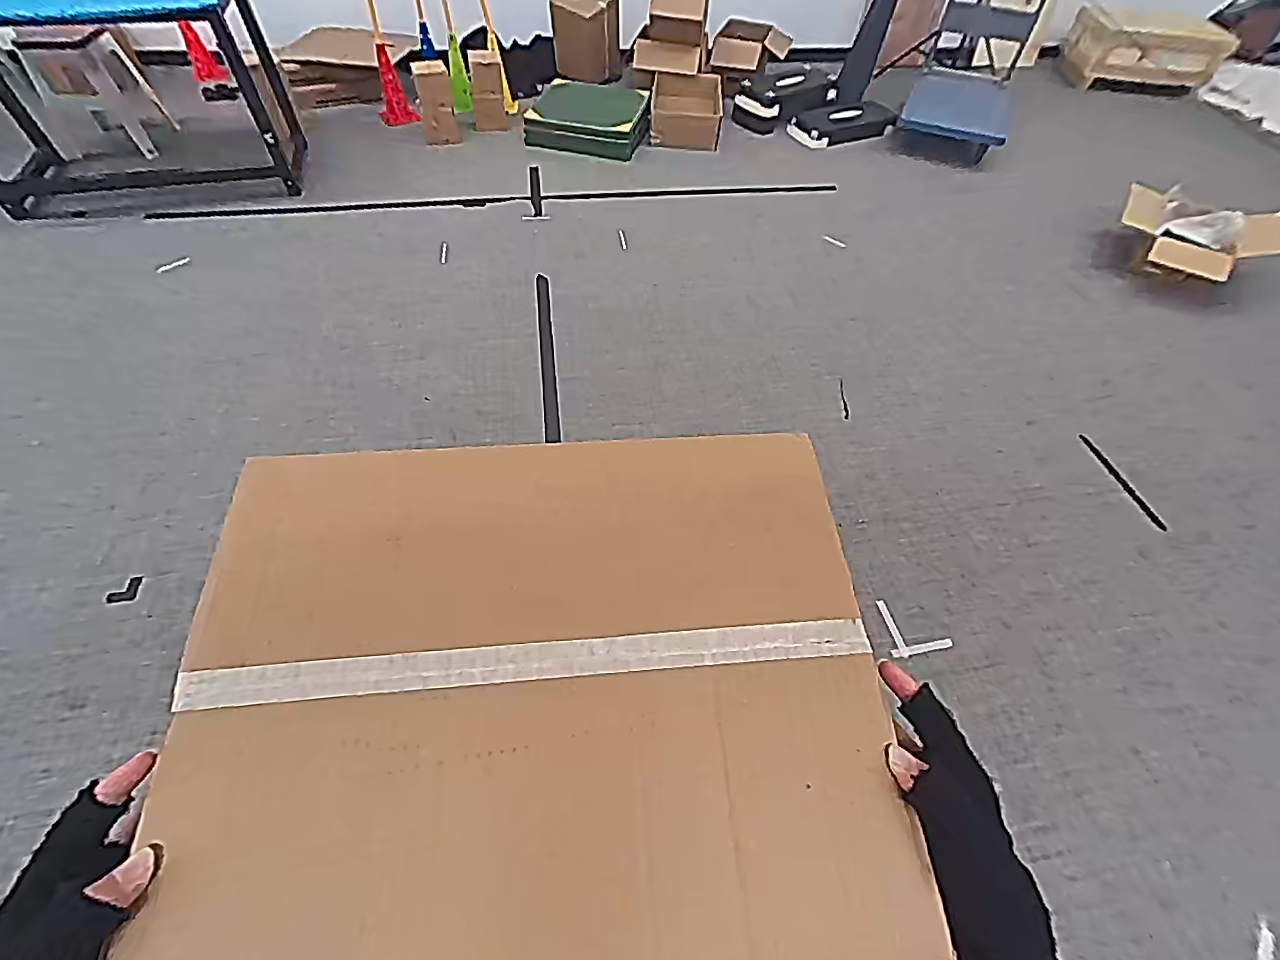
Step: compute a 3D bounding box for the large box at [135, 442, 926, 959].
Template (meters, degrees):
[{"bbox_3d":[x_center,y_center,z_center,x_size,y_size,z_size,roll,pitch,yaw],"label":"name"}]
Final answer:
[{"bbox_3d":[-0.066,0.187,0.466,0.408,0.320,0.320,-3,62,-5],"label":"large box"}]
